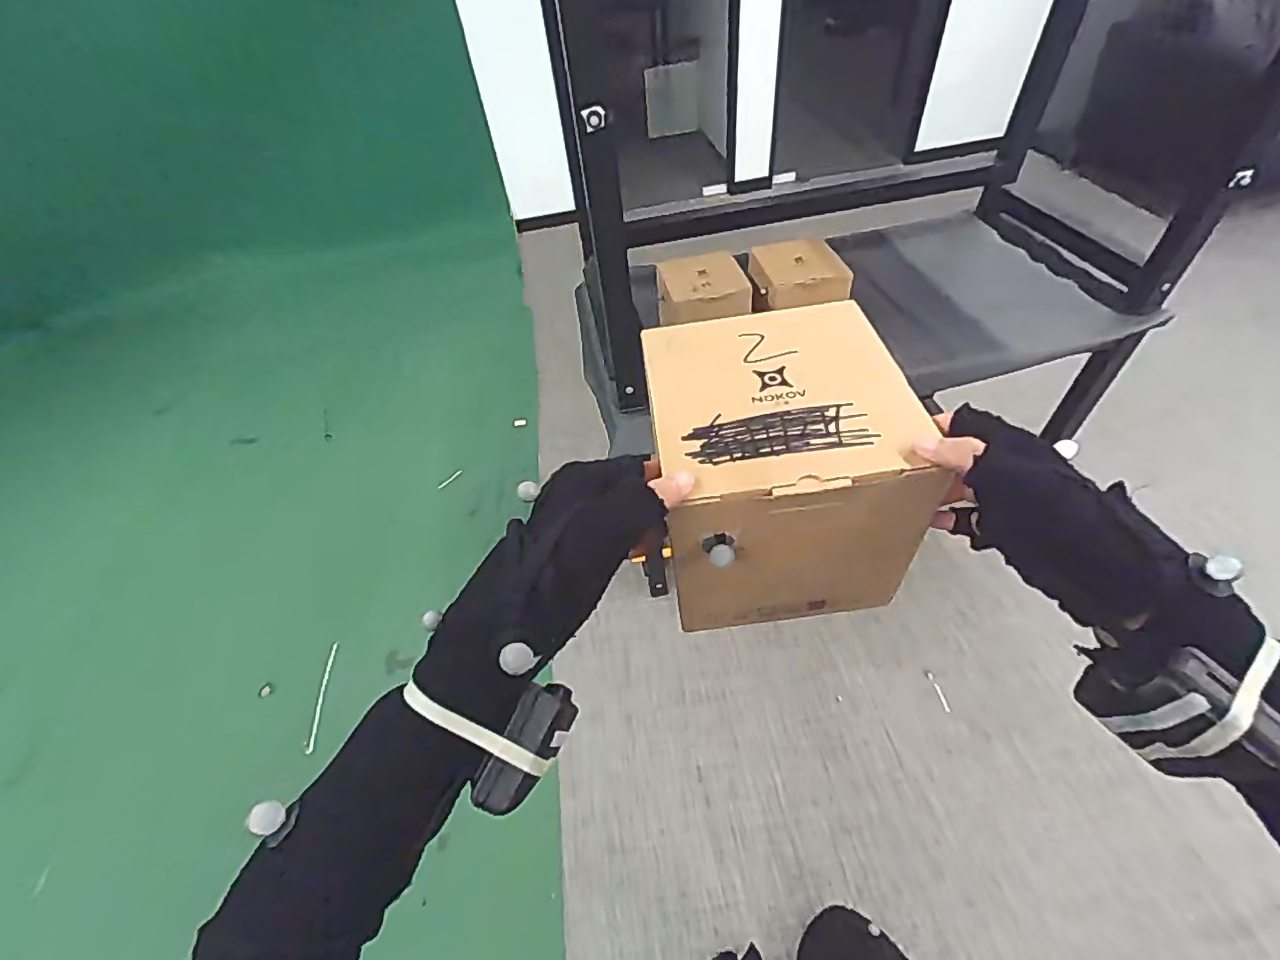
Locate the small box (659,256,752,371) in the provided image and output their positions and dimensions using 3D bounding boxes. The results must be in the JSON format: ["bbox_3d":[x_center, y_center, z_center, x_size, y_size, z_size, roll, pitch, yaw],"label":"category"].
[{"bbox_3d":[0.140,-0.368,1.199,0.168,0.176,0.179,-11,48,-3],"label":"small box"}]

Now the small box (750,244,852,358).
[{"bbox_3d":[0.344,-0.399,1.207,0.168,0.176,0.179,-11,48,-2],"label":"small box"}]
